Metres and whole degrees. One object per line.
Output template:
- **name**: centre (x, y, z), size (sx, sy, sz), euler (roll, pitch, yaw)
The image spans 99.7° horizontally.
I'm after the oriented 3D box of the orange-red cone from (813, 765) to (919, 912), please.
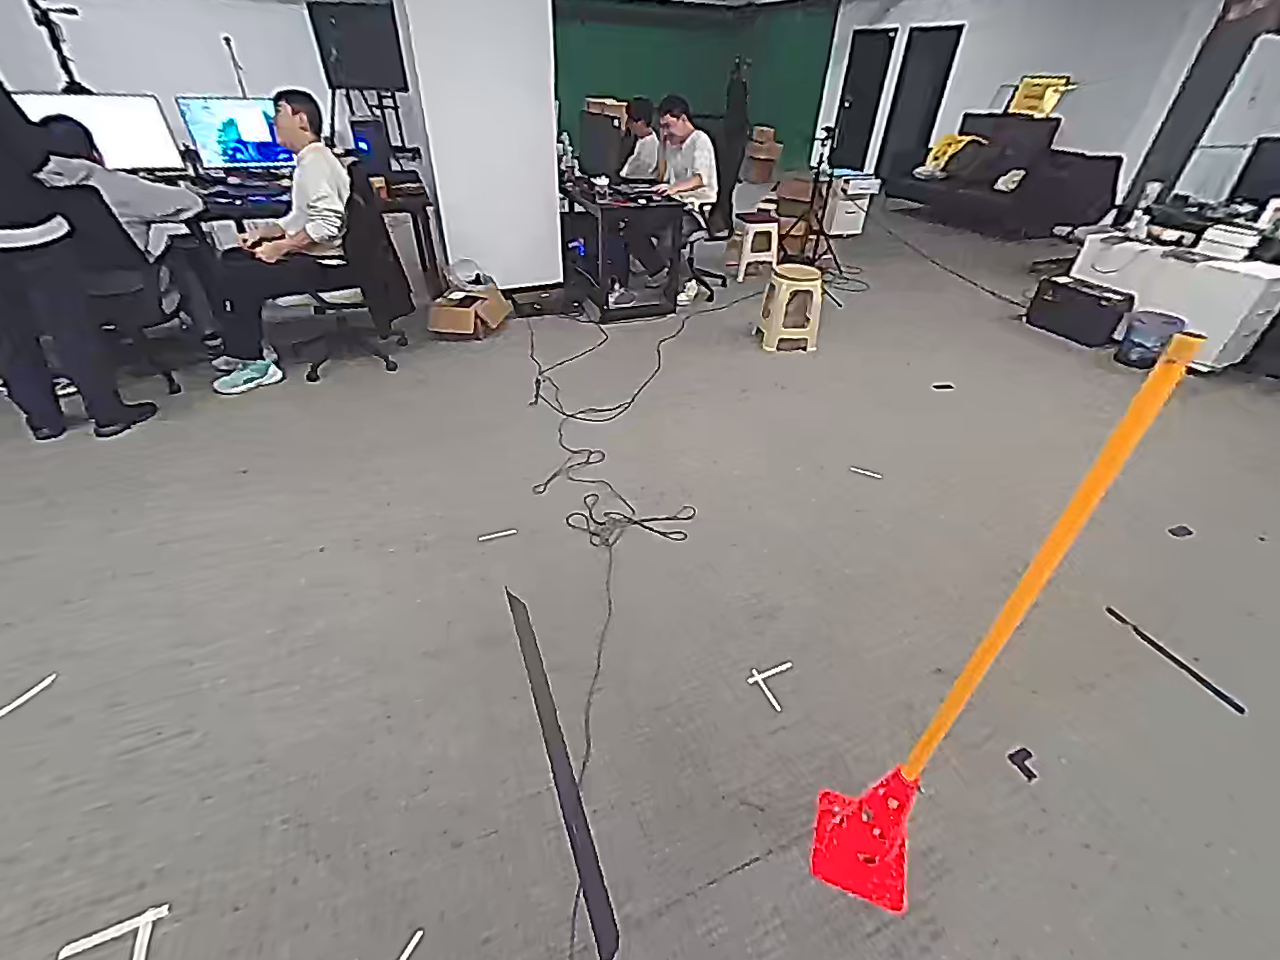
- **orange-red cone**: centre (0.505, 0.695, 1.120), size (0.198, 0.360, 0.199), euler (15, 40, 18)
